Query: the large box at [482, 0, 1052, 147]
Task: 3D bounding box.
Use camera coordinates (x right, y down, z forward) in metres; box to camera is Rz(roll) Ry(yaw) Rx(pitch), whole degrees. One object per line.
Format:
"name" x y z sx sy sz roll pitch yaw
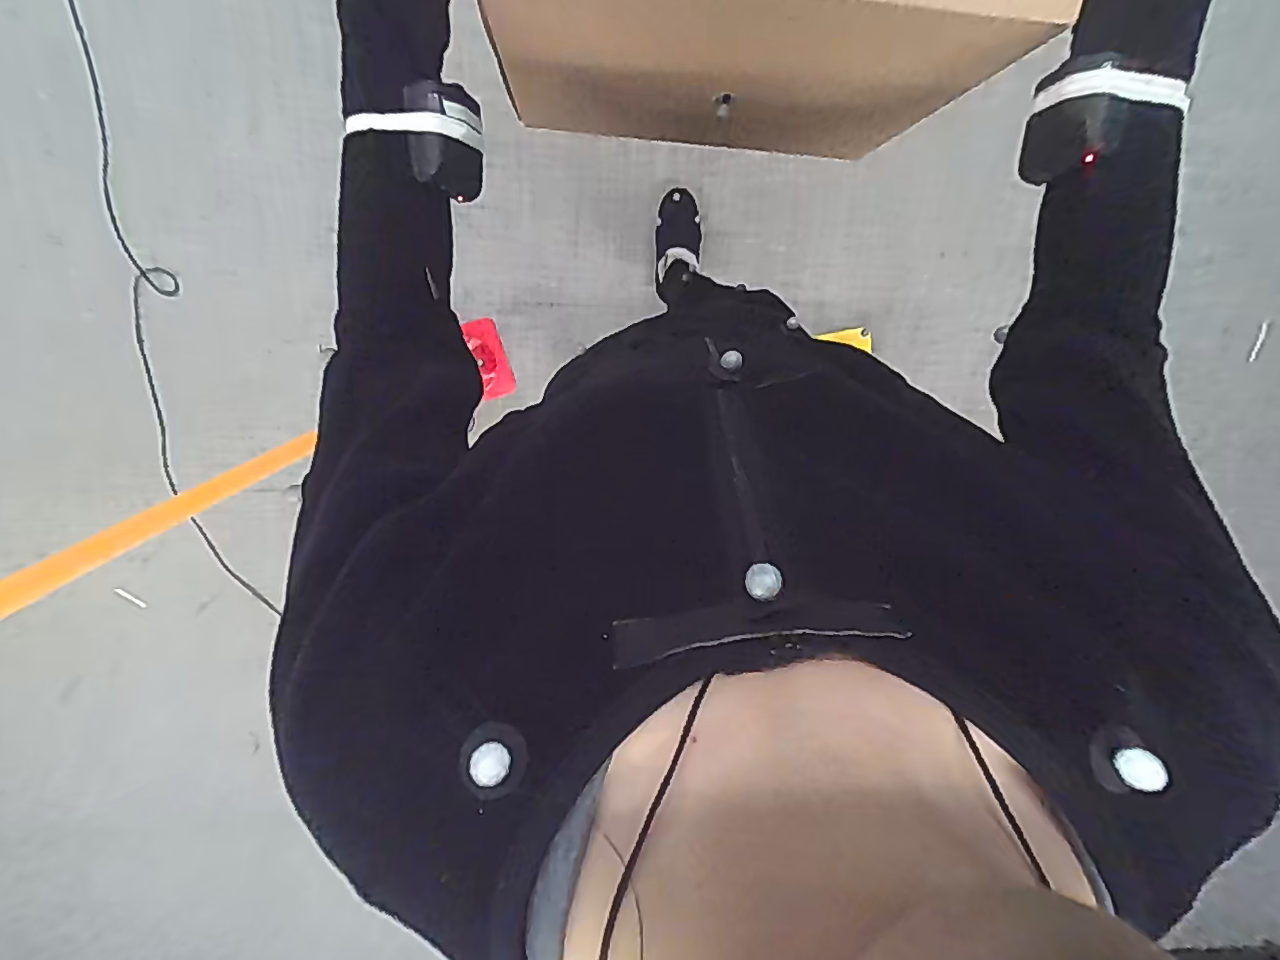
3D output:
"large box" 0.085 -0.508 0.461 0.408 0.320 0.320 2 105 -5
